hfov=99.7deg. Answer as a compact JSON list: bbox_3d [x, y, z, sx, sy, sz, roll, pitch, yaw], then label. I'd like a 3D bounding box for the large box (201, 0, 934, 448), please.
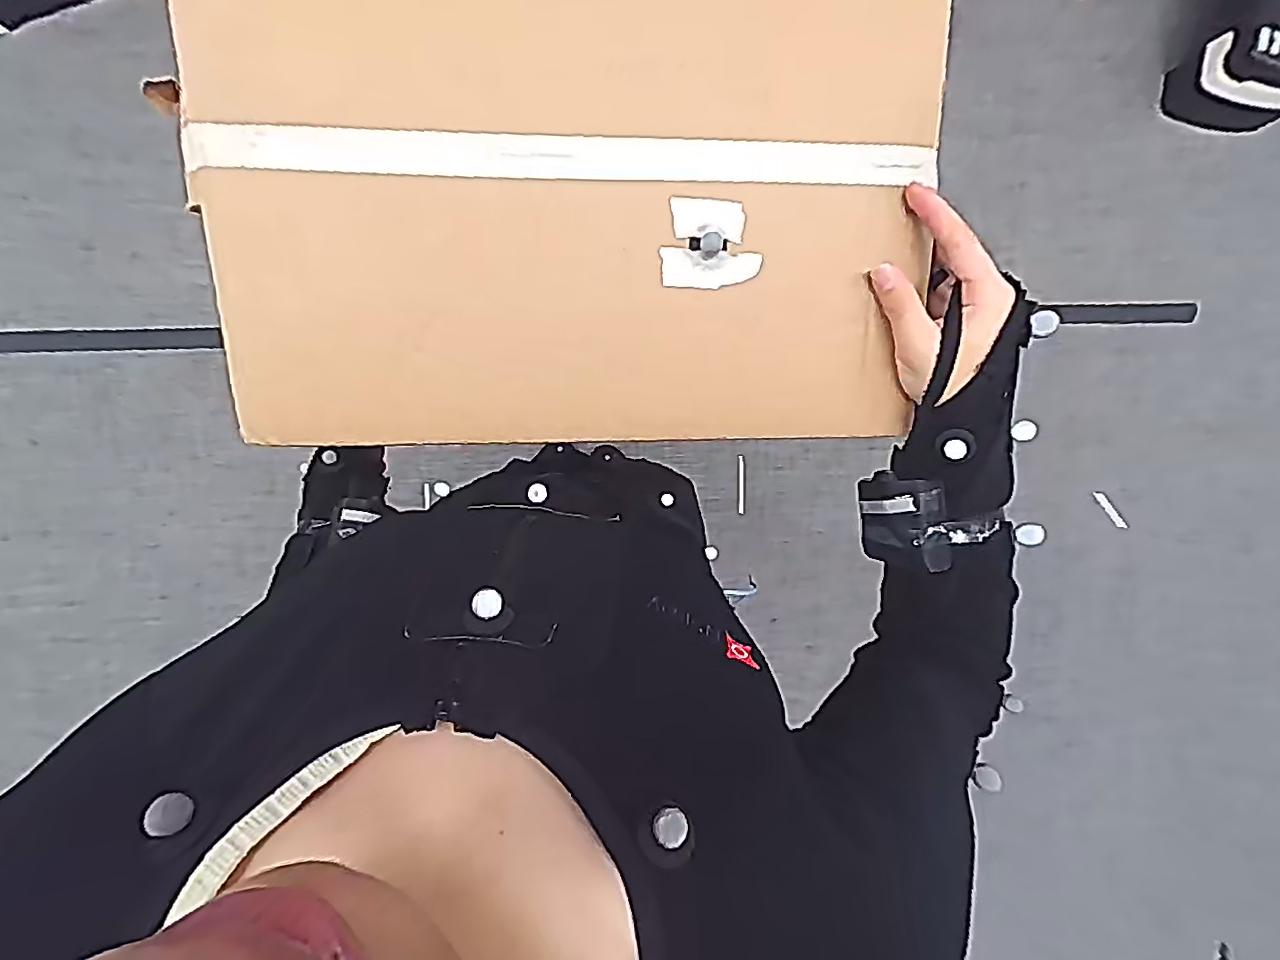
[{"bbox_3d":[-0.044,-0.207,0.456,0.408,0.320,0.320,-2,102,-7],"label":"large box"}]
